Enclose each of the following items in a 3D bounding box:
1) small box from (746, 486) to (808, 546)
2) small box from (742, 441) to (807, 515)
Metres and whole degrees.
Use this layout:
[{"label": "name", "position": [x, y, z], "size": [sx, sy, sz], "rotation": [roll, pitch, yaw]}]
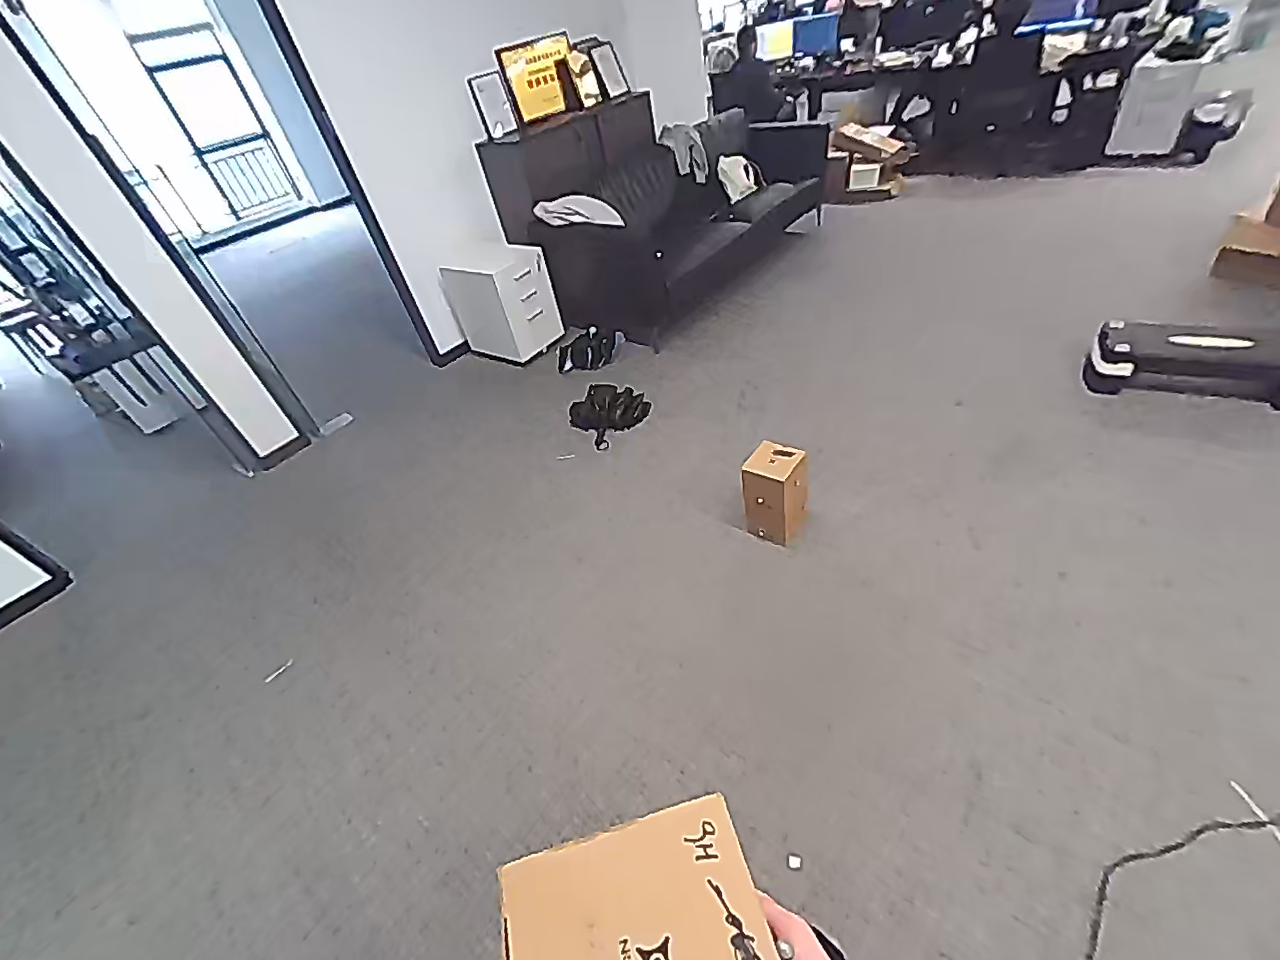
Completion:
[{"label": "small box", "position": [0.515, 0.113, 2.029], "size": [0.168, 0.176, 0.179], "rotation": [19, 51, 35]}, {"label": "small box", "position": [0.478, -0.007, 1.922], "size": [0.168, 0.176, 0.179], "rotation": [19, 50, 34]}]
